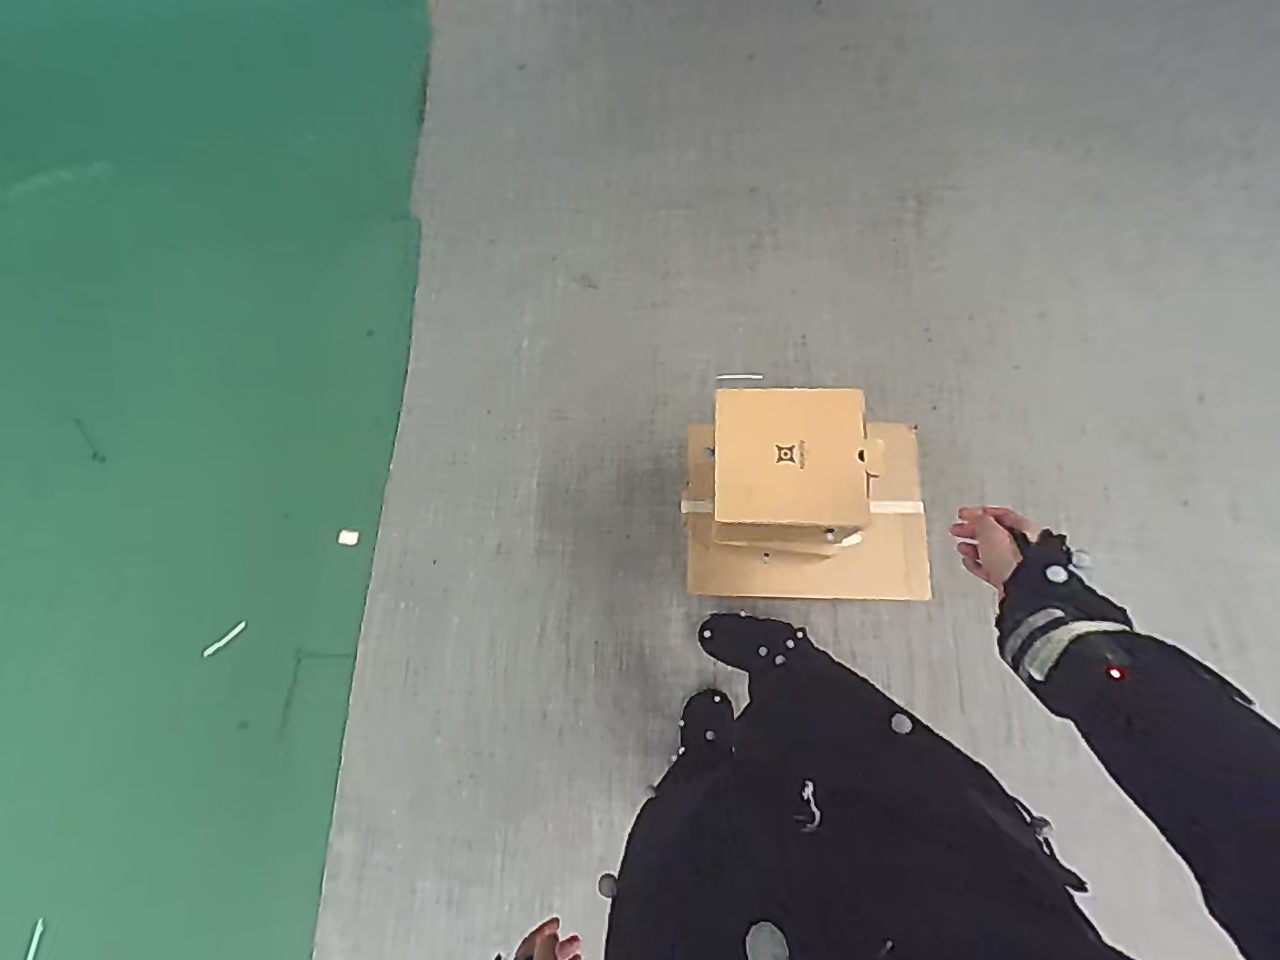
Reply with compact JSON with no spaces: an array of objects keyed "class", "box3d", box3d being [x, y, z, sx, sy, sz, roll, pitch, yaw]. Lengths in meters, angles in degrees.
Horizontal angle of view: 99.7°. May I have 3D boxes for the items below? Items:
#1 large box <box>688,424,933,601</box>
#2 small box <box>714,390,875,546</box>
[{"class":"large box","box3d":[0.302,0.084,1.090,0.408,0.320,0.320,0,78,5]},{"class":"small box","box3d":[0.187,-0.007,0.703,0.179,0.176,0.168,1,77,6]}]
